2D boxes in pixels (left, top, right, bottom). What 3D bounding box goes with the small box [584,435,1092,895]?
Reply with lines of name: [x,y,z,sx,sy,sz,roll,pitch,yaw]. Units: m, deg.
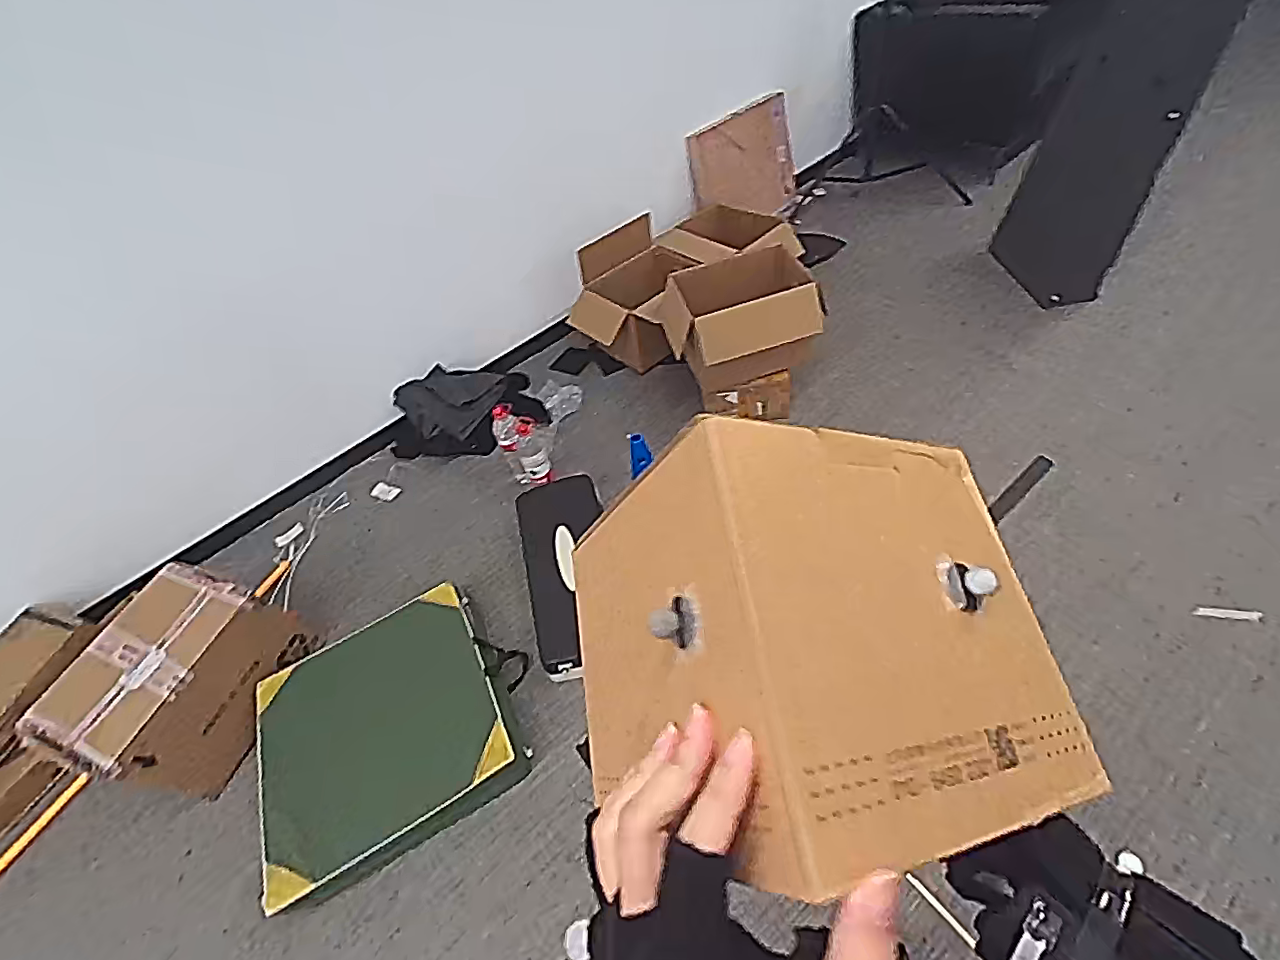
small box: [0.079,0.094,0.291,0.168,0.179,0.176,3,63,-24]
